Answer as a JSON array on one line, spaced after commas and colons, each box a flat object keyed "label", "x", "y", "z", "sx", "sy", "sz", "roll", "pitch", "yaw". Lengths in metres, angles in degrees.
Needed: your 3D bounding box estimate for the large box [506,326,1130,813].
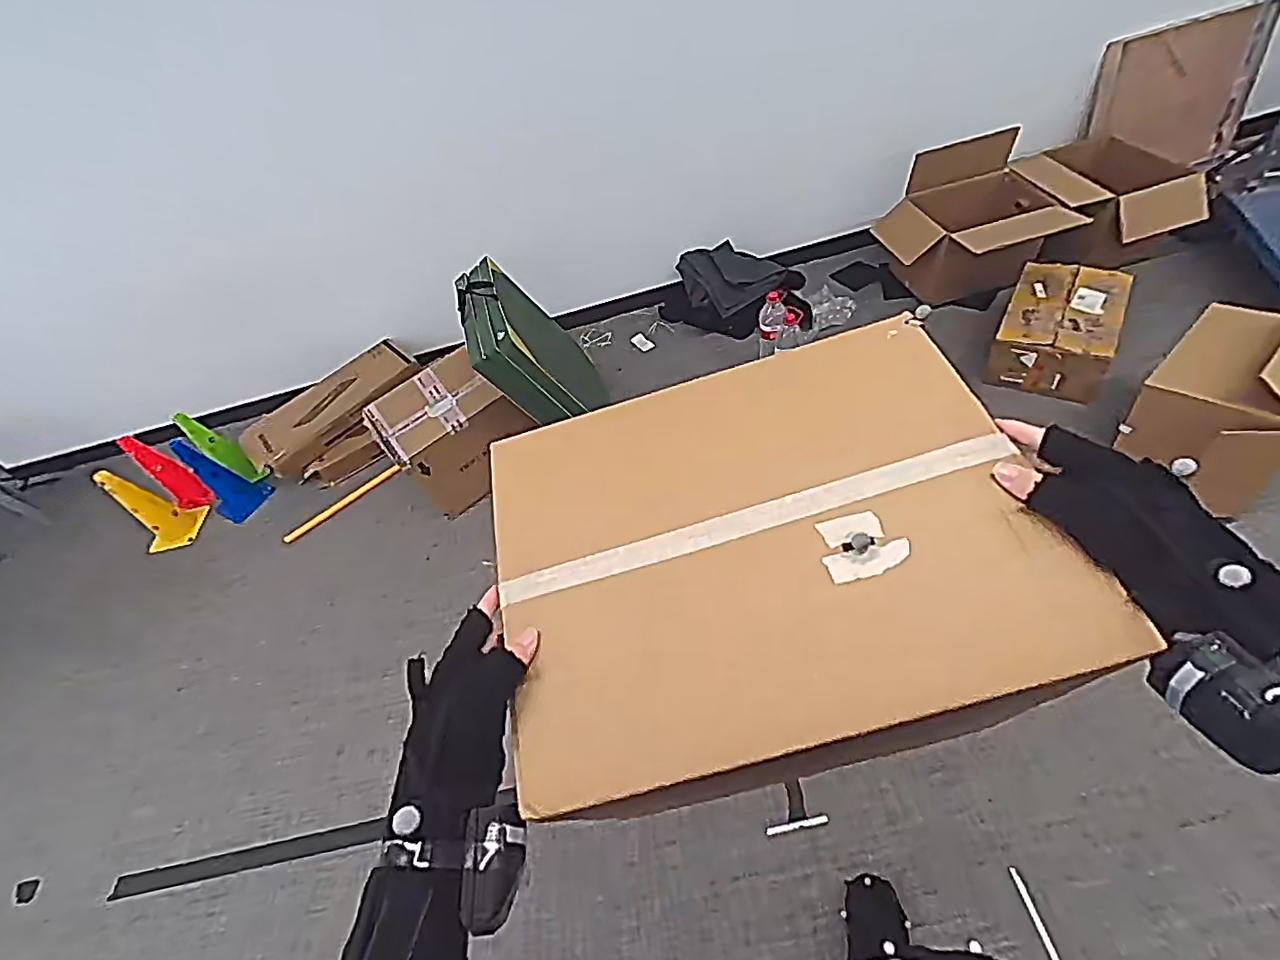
[{"label": "large box", "x": 0.119, "y": 0.113, "z": 0.555, "sx": 0.408, "sy": 0.320, "sz": 0.320, "roll": -17, "pitch": 57, "yaw": 3}]
